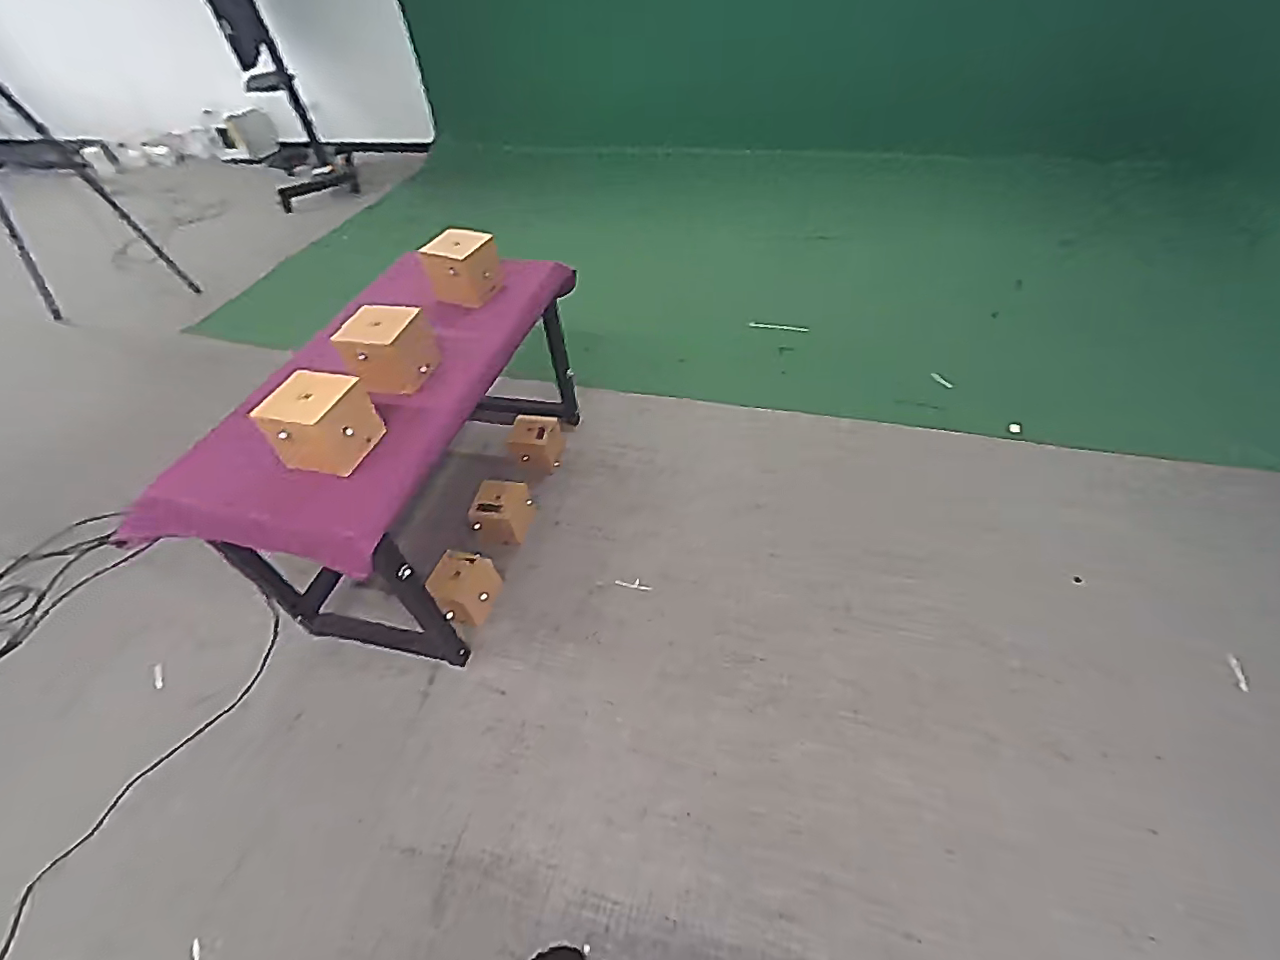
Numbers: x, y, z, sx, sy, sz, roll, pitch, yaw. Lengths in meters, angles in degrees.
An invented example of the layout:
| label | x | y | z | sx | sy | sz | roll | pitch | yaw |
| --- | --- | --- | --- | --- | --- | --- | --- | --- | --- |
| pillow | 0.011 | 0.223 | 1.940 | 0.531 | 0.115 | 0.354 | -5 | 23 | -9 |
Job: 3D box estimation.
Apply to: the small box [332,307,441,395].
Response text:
| label | x | y | z | sx | sy | sz | roll | pitch | yaw |
| --- | --- | --- | --- | --- | --- | --- | --- | --- | --- |
| small box | -0.673 | -0.347 | 1.458 | 0.179 | 0.176 | 0.168 | 7 | 50 | 12 |

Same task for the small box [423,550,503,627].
| label | x | y | z | sx | sy | sz | roll | pitch | yaw |
| --- | --- | --- | --- | --- | --- | --- | --- | --- | --- |
| small box | -0.575 | 0.363 | 1.787 | 0.168 | 0.176 | 0.179 | 10 | 51 | 15 |

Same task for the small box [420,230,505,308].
| label | x | y | z | sx | sy | sz | roll | pitch | yaw |
| --- | --- | --- | --- | --- | --- | --- | --- | --- | --- |
| small box | -0.561 | -0.675 | 1.739 | 0.179 | 0.176 | 0.168 | 17 | 52 | 19 |

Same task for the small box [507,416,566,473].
| label | x | y | z | sx | sy | sz | roll | pitch | yaw |
| --- | --- | --- | --- | --- | --- | --- | --- | --- | --- |
| small box | -0.419 | -0.143 | 2.225 | 0.179 | 0.176 | 0.168 | 5 | 49 | 12 |

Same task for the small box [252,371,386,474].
| label | x | y | z | sx | sy | sz | roll | pitch | yaw |
| --- | --- | --- | --- | --- | --- | --- | --- | --- | --- |
| small box | -0.740 | -0.132 | 1.271 | 0.179 | 0.176 | 0.168 | 8 | 49 | 14 |
